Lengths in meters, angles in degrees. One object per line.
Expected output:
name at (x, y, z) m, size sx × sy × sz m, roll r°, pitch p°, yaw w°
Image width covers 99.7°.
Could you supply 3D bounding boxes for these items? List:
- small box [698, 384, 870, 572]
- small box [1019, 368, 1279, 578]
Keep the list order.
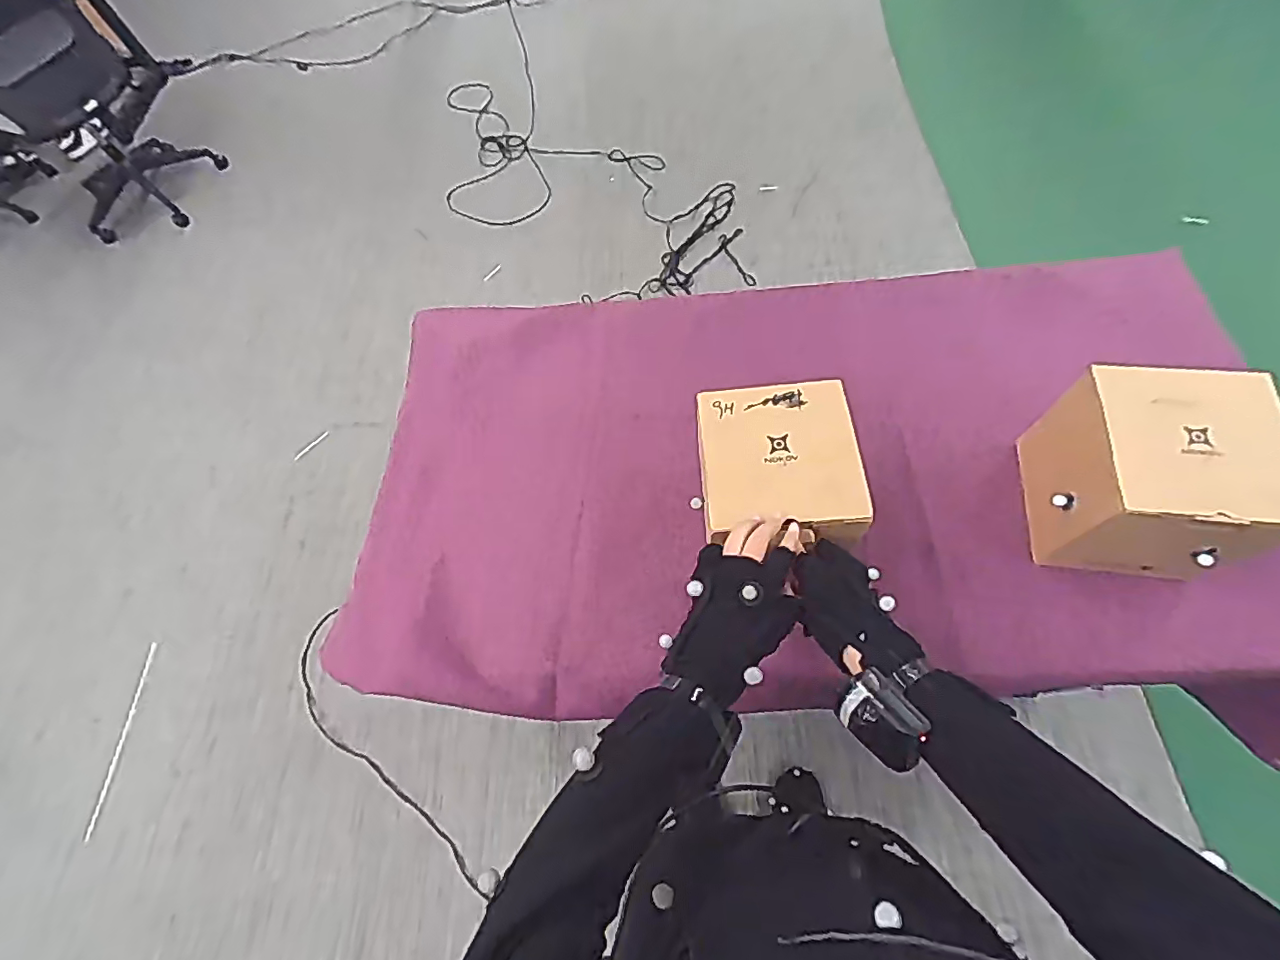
small box at (0.160, 0.009, 0.657) m, size 0.168 × 0.176 × 0.179 m, roll -4°, pitch 64°, yaw 5°
small box at (0.561, -0.001, 0.605) m, size 0.168 × 0.176 × 0.179 m, roll 6°, pitch 64°, yaw 11°
